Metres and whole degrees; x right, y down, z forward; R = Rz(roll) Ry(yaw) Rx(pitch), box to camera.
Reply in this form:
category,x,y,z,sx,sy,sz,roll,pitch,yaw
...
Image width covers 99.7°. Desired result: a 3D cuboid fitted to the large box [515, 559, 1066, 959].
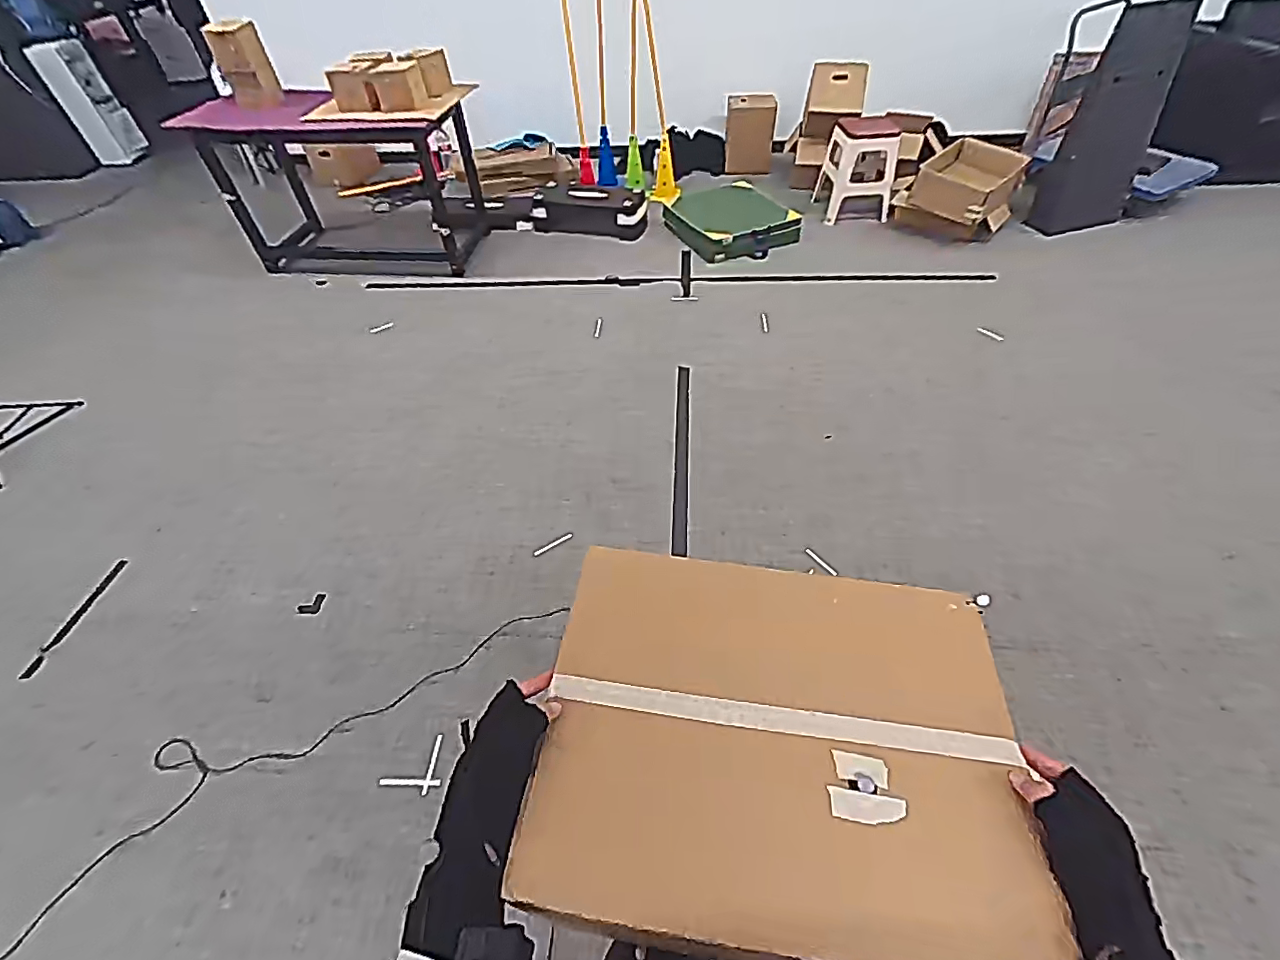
category,x,y,z,sx,sy,sz,roll,pitch,yaw
large box,0.117,0.318,0.592,0.408,0.320,0.320,7,49,5
